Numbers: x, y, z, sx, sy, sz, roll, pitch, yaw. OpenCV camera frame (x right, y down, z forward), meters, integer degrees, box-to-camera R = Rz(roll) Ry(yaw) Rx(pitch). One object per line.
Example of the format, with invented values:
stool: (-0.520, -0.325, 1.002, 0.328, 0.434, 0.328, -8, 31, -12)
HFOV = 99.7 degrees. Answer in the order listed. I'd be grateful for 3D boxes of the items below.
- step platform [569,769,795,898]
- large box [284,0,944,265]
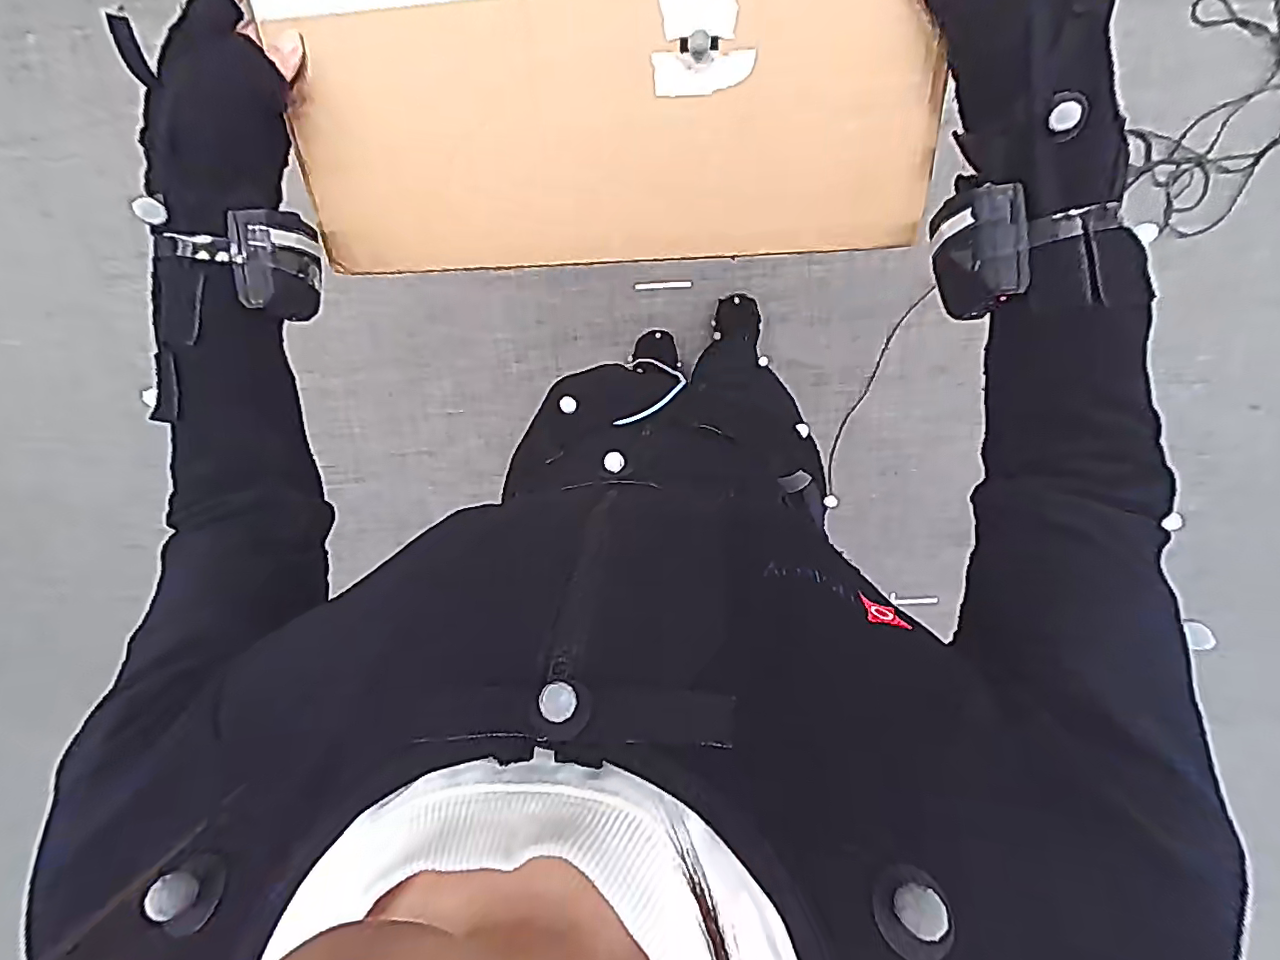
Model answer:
step platform: (0.126, 1.091, 1.676, 0.684, 0.204, 0.286, -2, 105, 8)
large box: (-0.012, -0.368, 0.445, 0.408, 0.320, 0.320, 0, 117, 7)
